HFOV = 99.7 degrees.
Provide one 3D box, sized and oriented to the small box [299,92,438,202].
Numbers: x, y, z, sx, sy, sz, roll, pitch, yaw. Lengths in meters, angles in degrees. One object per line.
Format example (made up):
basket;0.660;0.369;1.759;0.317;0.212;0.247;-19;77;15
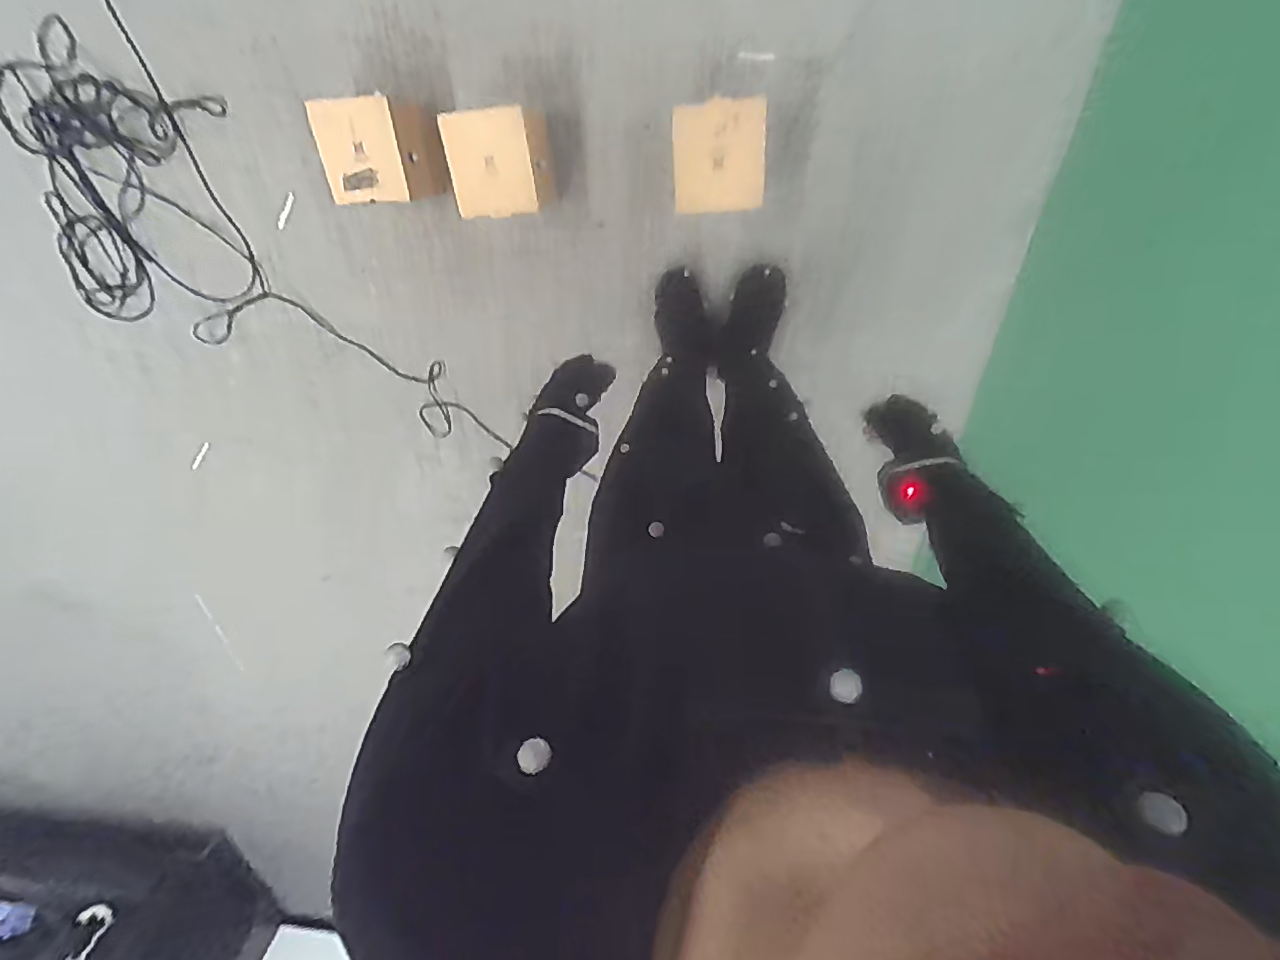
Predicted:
small box;-0.532;-0.670;1.091;0.168;0.176;0.179;1;122;6

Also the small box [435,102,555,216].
small box;-0.279;-0.640;1.081;0.168;0.176;0.179;-1;124;8

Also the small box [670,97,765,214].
small box;0.146;-0.623;1.039;0.168;0.176;0.179;-1;123;6
